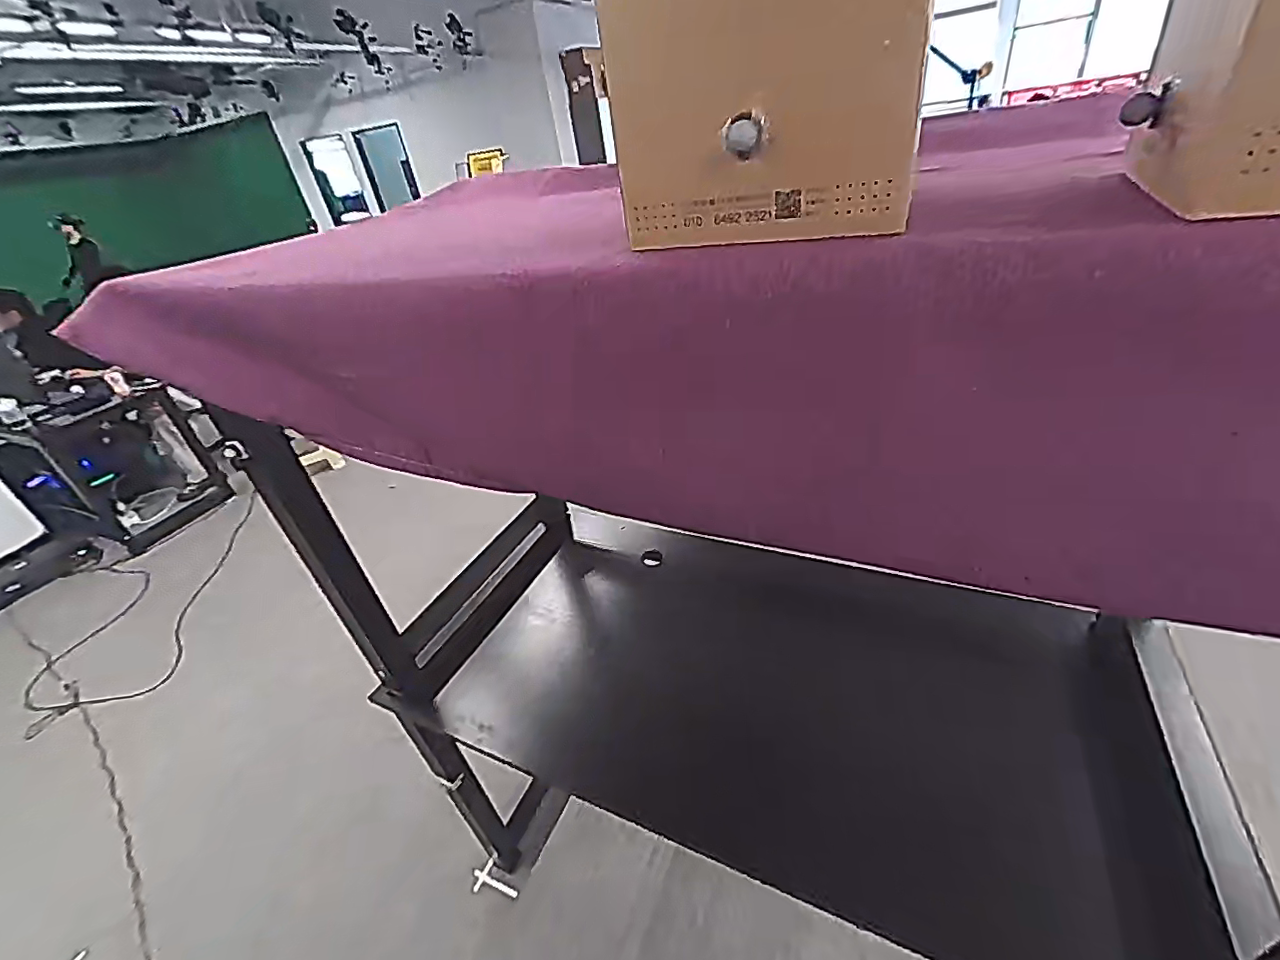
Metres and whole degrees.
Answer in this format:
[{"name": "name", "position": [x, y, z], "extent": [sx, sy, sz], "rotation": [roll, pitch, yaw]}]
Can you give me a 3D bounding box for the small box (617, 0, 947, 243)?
[{"name": "small box", "position": [0.094, -0.253, 0.337], "extent": [0.168, 0.176, 0.179], "rotation": [7, 36, 24]}]
